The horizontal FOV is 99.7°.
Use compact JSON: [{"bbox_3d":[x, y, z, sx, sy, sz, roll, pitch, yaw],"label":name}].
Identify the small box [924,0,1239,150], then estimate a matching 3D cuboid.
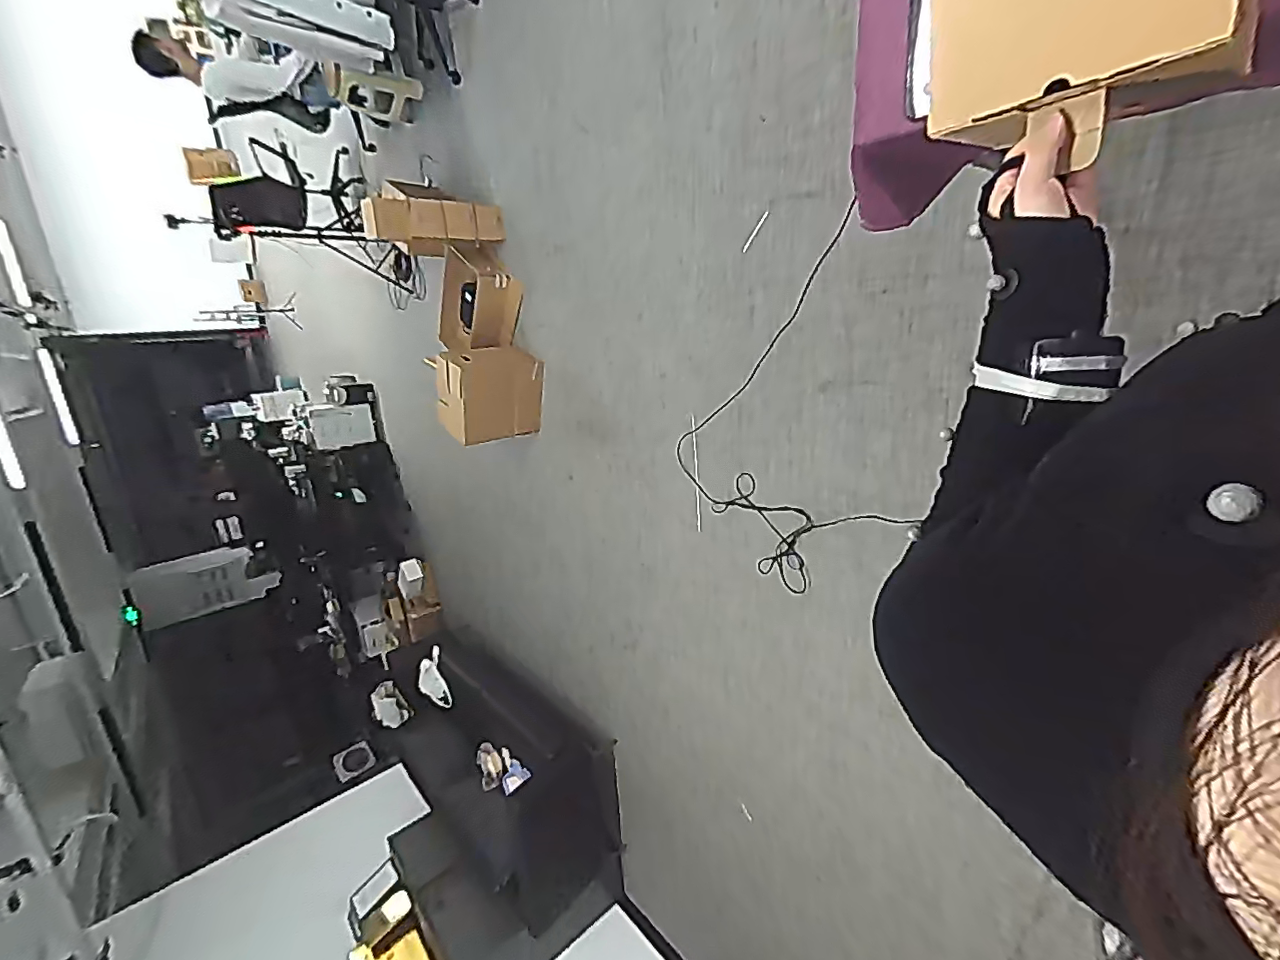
[{"bbox_3d":[0.330,-0.369,0.403,0.168,0.176,0.179,10,117,46],"label":"small box"}]
